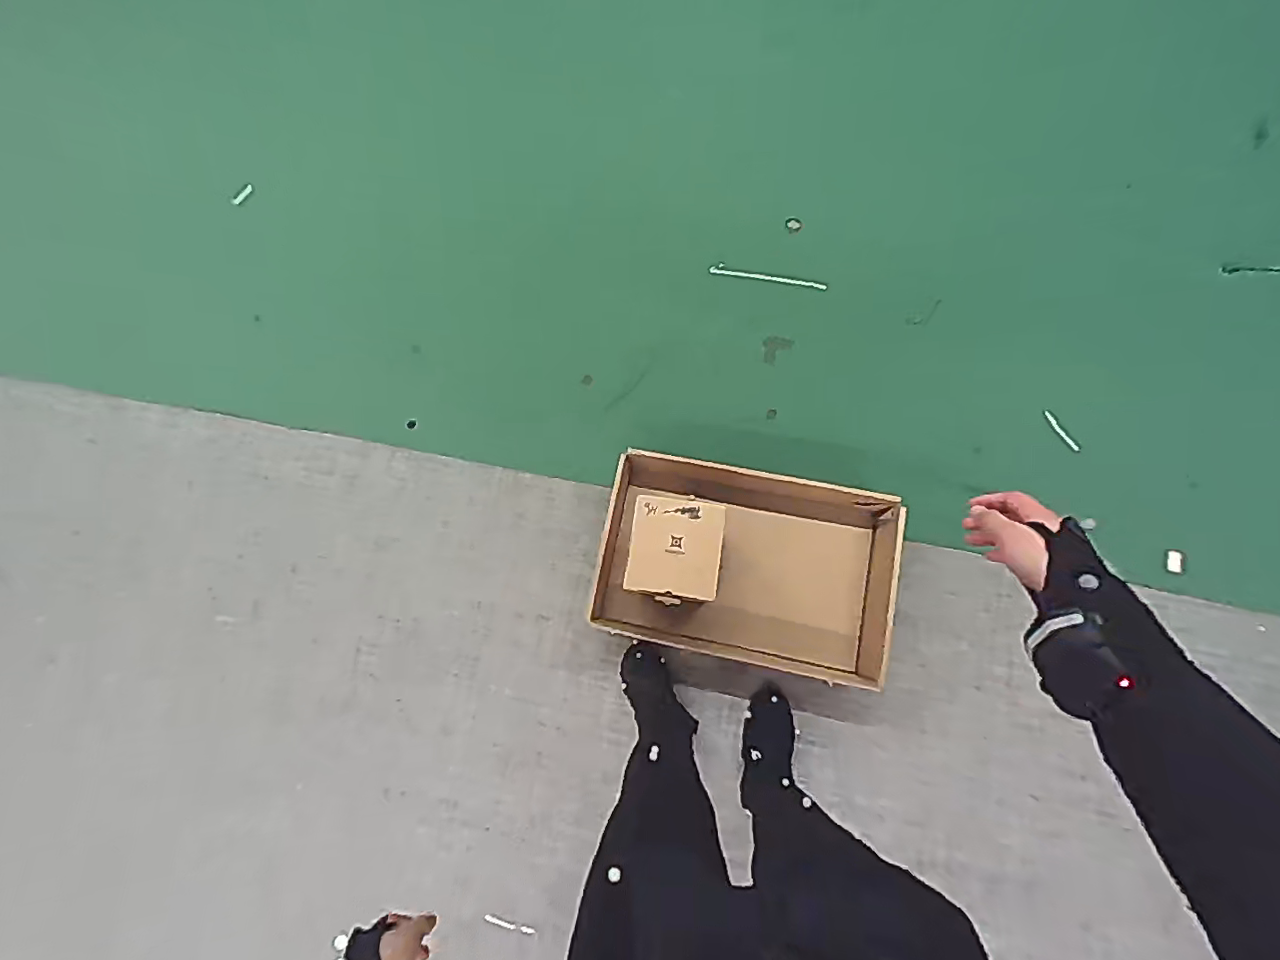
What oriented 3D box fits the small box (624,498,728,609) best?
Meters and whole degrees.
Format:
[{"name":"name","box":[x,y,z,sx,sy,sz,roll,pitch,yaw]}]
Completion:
[{"name":"small box","box":[0.072,0.143,1.032,0.168,0.176,0.179,8,80,6]}]
